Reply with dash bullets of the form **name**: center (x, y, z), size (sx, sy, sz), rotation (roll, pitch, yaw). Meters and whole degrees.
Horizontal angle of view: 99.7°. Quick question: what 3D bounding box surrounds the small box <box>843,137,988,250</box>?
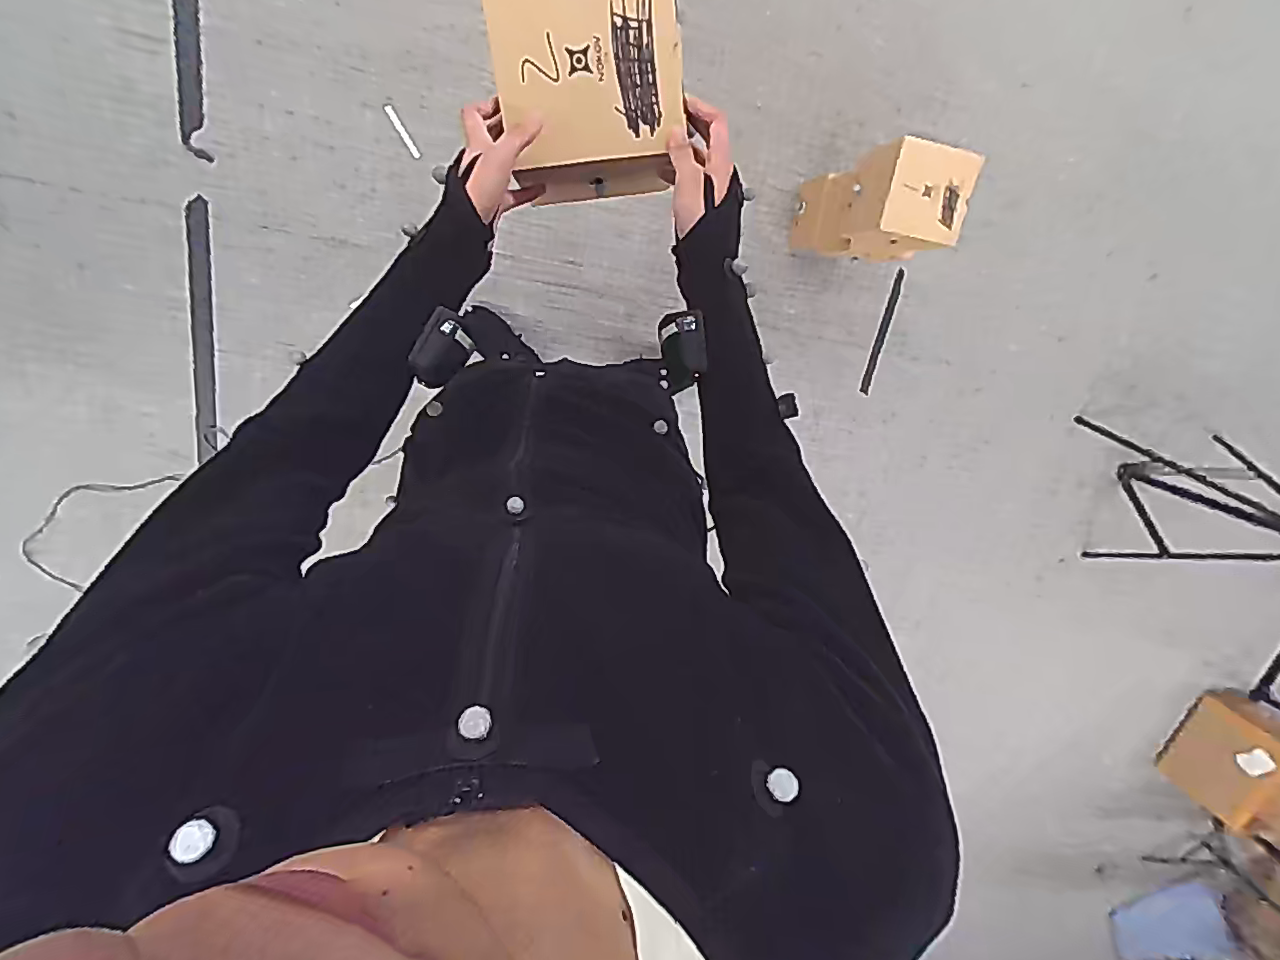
- **small box**: center (0.555, -0.577, 1.113), size (0.179, 0.176, 0.168), rotation (7, 109, -11)

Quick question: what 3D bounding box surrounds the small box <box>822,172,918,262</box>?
- **small box**: center (0.552, -0.619, 1.274), size (0.168, 0.176, 0.179), rotation (3, 110, -10)

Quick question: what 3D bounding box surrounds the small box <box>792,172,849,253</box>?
- **small box**: center (0.528, -0.691, 1.420), size (0.179, 0.176, 0.168), rotation (5, 110, -10)
